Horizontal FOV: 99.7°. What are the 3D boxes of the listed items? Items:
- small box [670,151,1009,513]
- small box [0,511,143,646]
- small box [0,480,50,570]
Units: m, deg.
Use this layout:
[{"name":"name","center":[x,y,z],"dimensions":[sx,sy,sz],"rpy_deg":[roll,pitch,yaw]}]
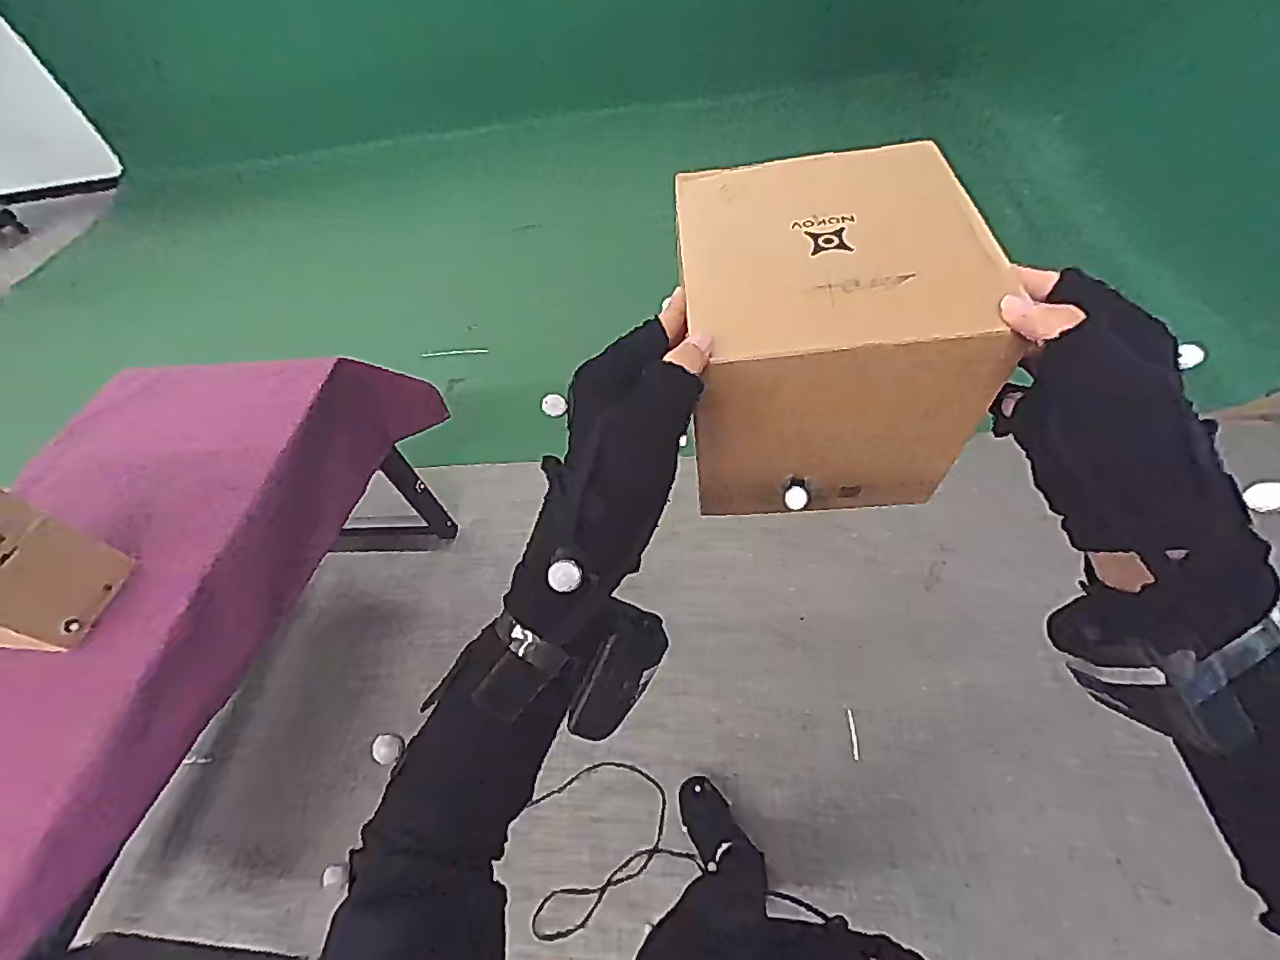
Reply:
[{"name":"small box","center":[0.110,-0.095,0.384],"dimensions":[0.168,0.176,0.179],"rpy_deg":[-5,57,6]},{"name":"small box","center":[-0.988,0.161,0.880],"dimensions":[0.179,0.176,0.168],"rpy_deg":[0,53,11]},{"name":"small box","center":[-1.020,0.063,0.751],"dimensions":[0.179,0.176,0.168],"rpy_deg":[0,54,10]}]
